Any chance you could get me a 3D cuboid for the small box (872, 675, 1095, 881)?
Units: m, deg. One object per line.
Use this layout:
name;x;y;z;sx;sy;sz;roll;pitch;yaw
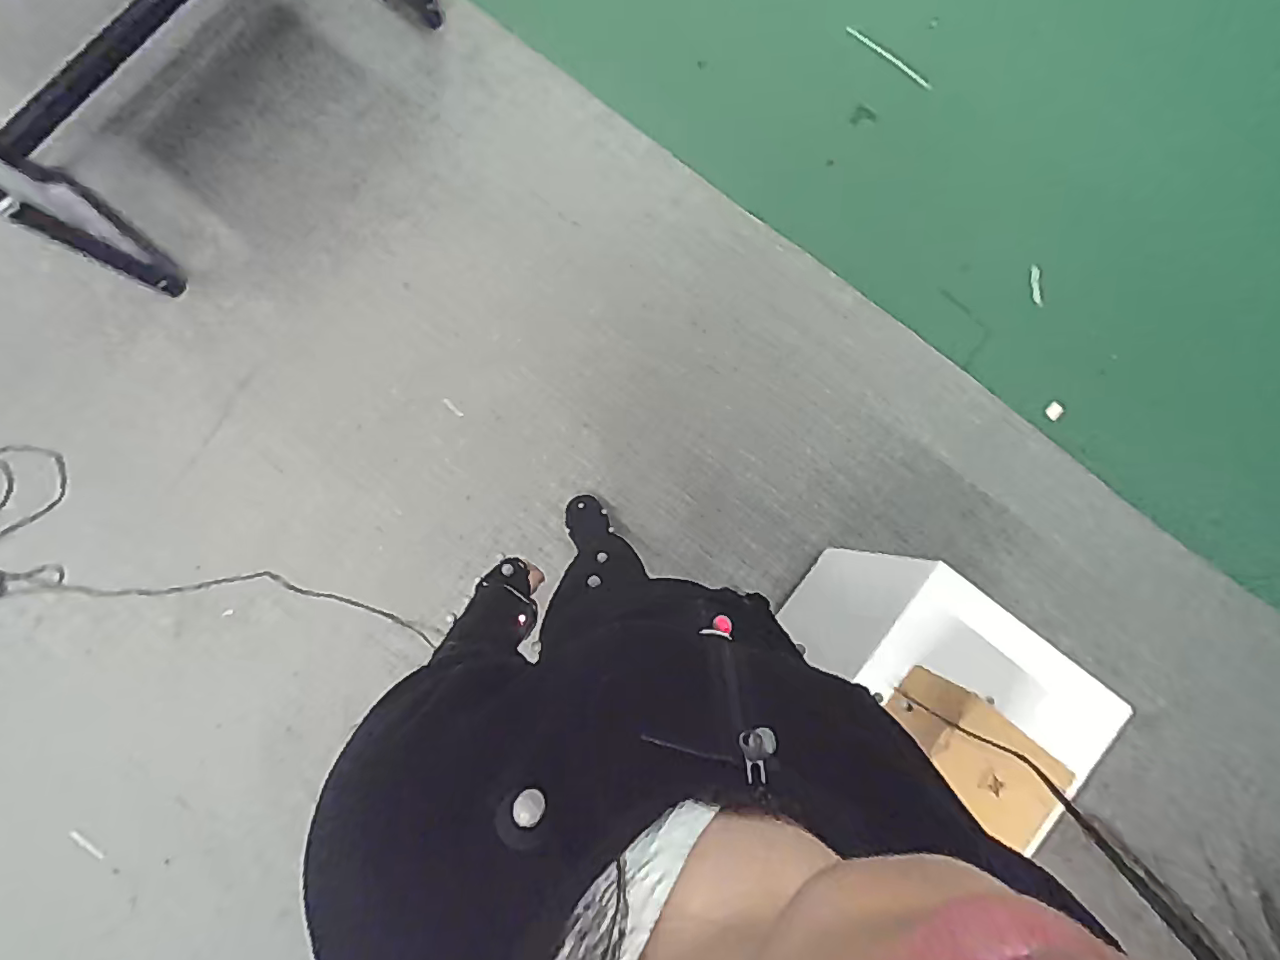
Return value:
small box;0.485;0.416;0.792;0.179;0.176;0.168;38;86;3
